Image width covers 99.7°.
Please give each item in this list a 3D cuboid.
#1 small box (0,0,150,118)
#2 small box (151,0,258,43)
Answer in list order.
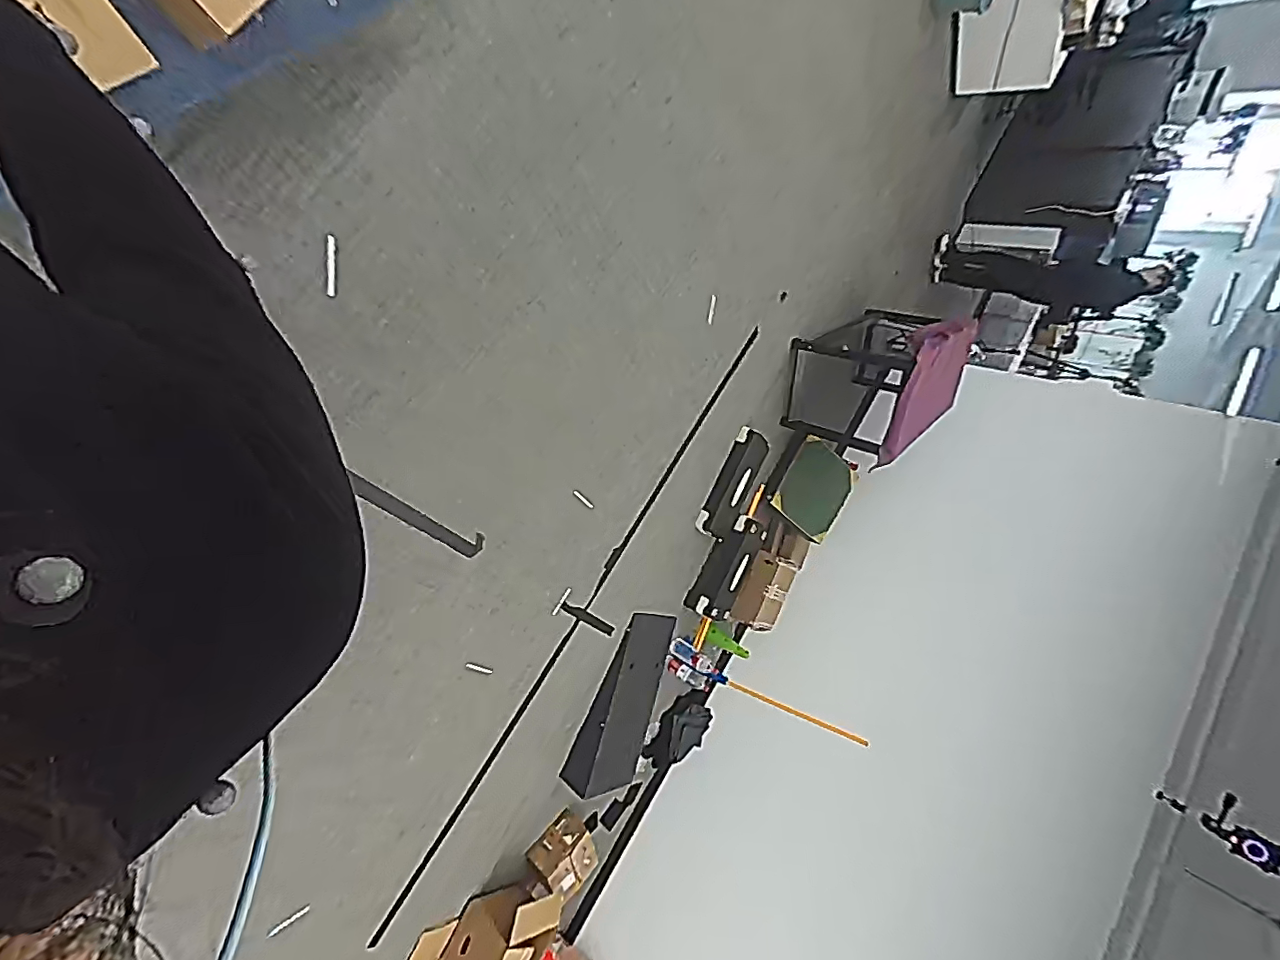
[{"bbox_3d":[-0.823,-0.608,0.721,0.179,0.176,0.168,-50,143,-23],"label":"small box"},{"bbox_3d":[-0.670,-0.797,0.806,0.179,0.176,0.168,-58,144,-13],"label":"small box"}]
